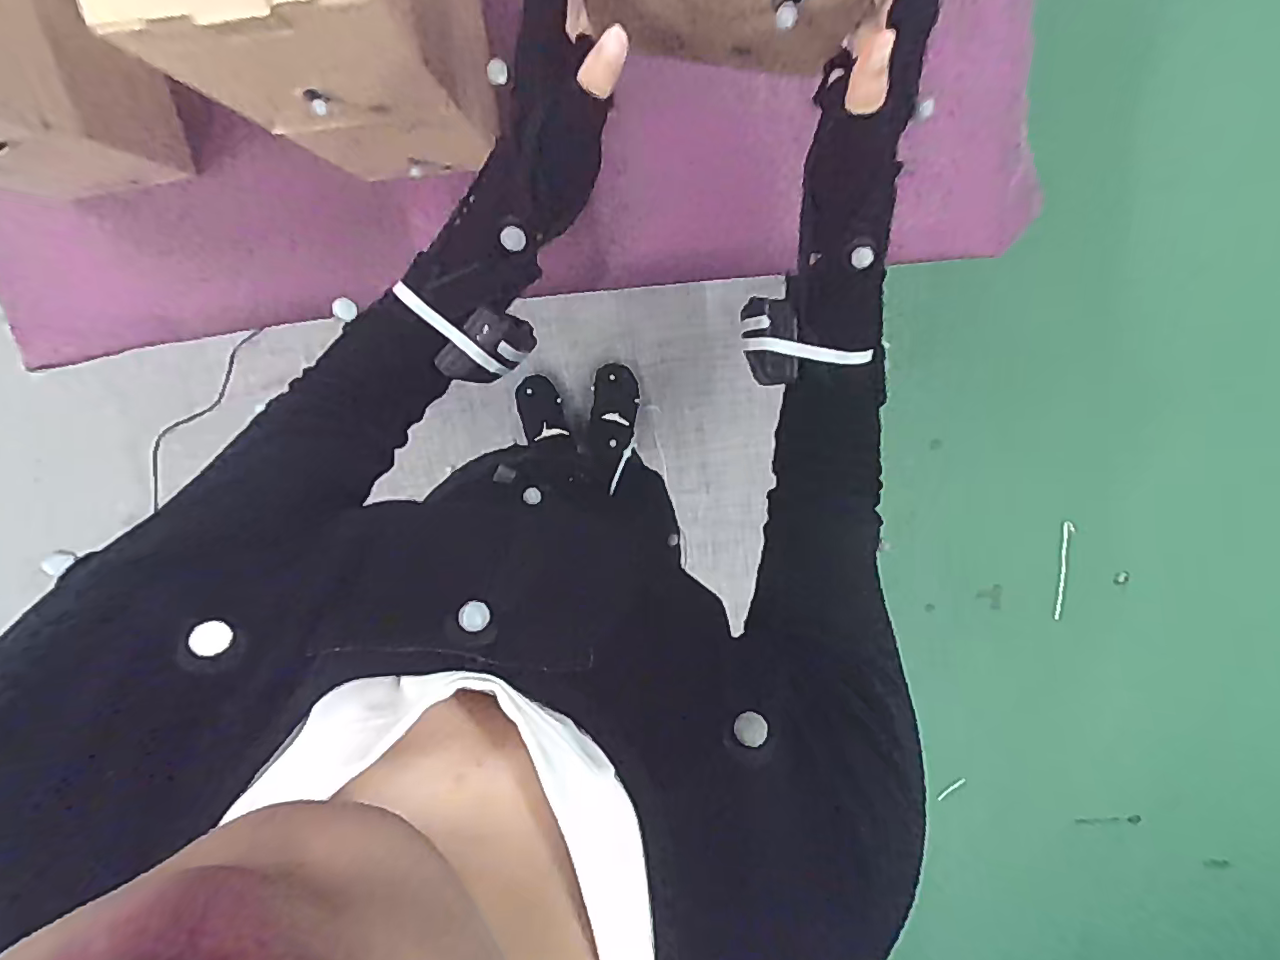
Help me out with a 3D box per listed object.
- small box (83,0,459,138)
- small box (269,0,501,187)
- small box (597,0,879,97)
[{"bbox_3d":[-0.239,-0.361,0.363,0.168,0.176,0.179,-6,106,1],"label":"small box"},{"bbox_3d":[-0.242,-0.403,0.520,0.168,0.176,0.179,-4,106,1],"label":"small box"},{"bbox_3d":[0.065,-0.353,0.301,0.168,0.176,0.179,7,103,-5],"label":"small box"}]
